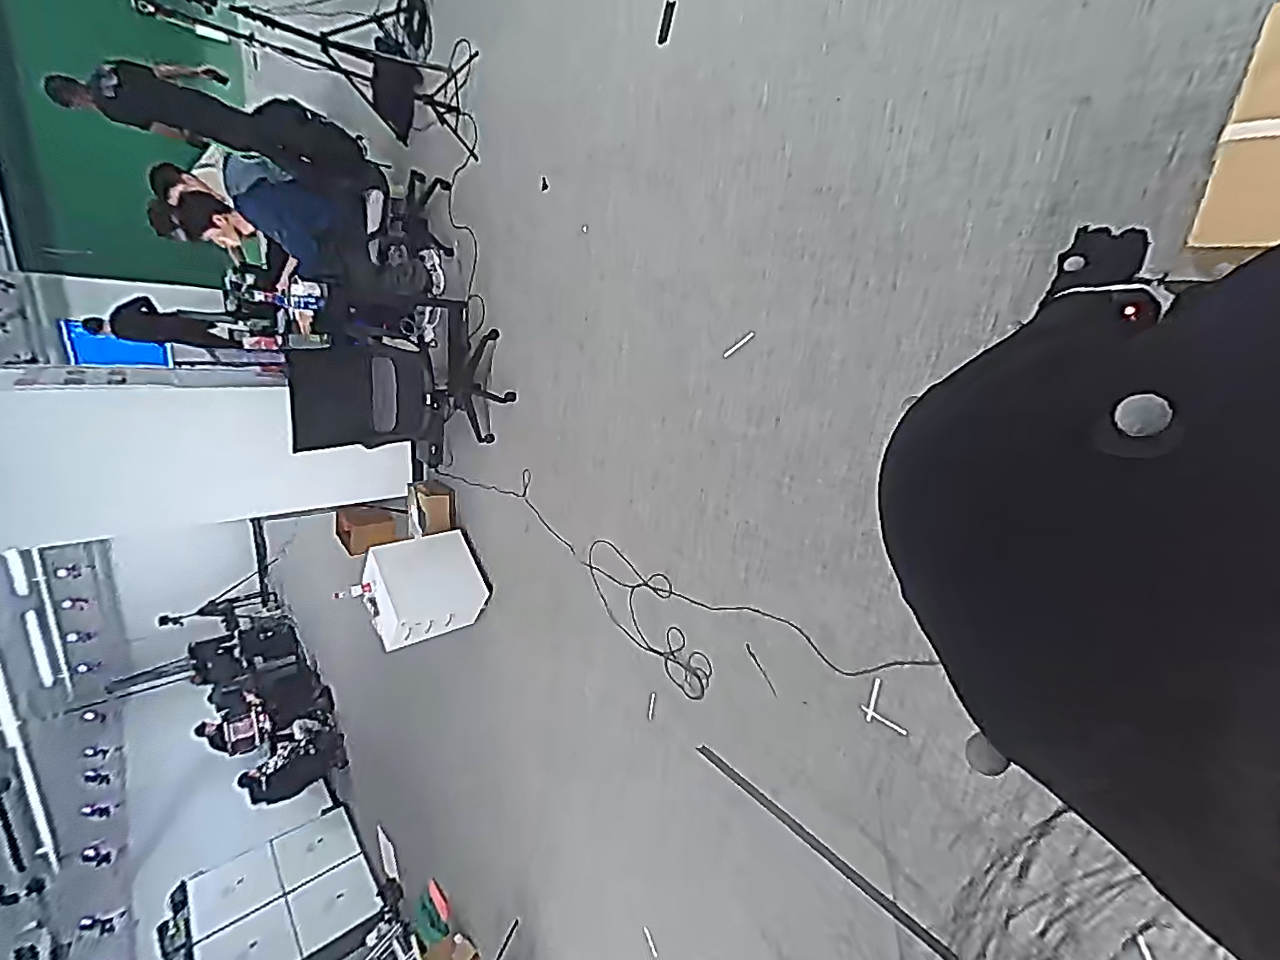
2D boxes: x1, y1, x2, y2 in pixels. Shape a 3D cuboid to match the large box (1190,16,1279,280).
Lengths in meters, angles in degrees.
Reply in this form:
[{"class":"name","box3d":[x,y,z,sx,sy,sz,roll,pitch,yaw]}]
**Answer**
[{"class":"large box","box3d":[1.101,-0.465,0.761,0.408,0.320,0.320,22,113,42]}]
